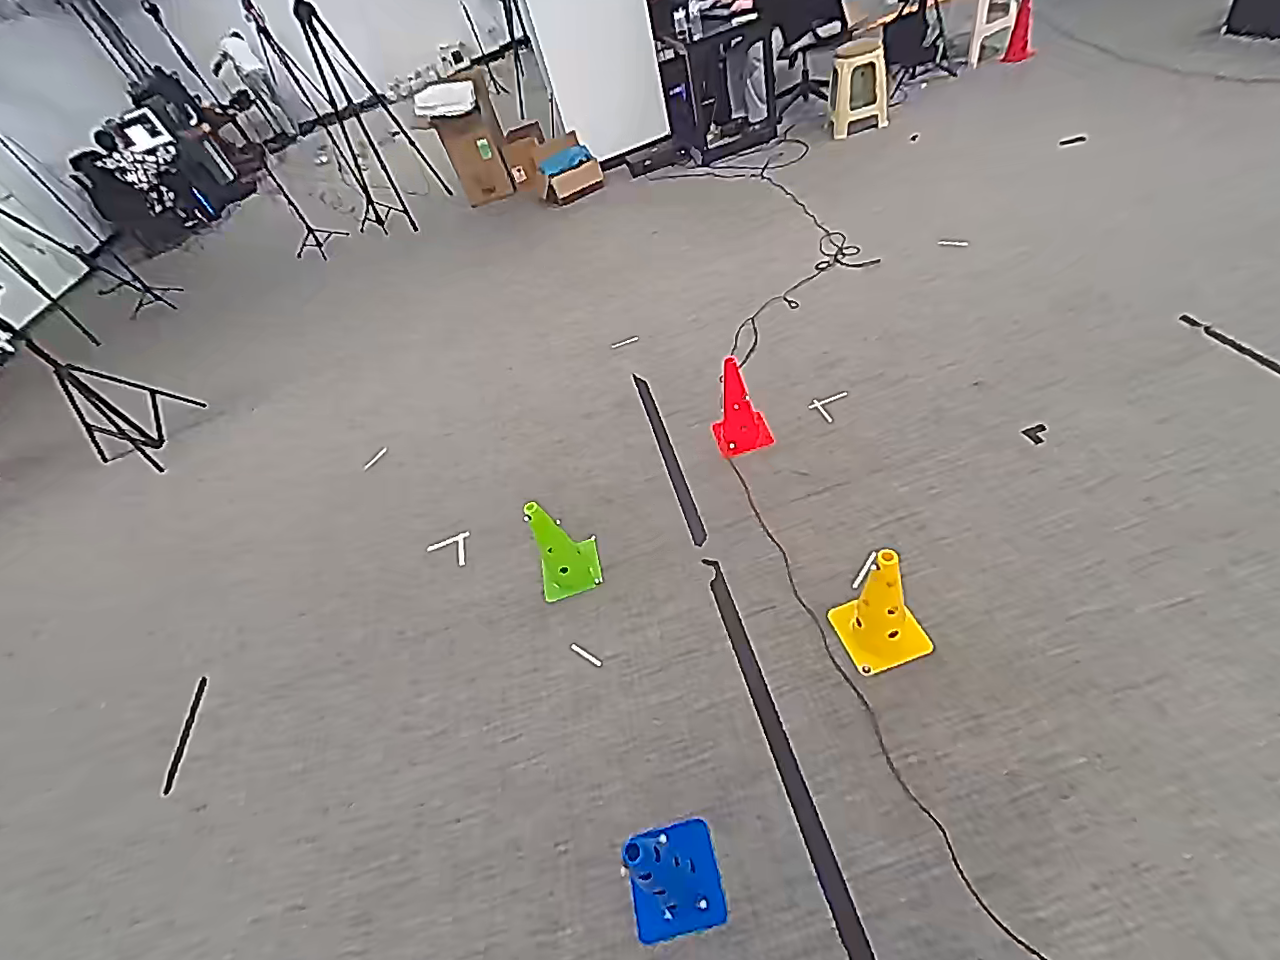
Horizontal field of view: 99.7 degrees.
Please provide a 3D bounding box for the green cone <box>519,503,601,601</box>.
[{"bbox_3d":[-0.284,0.192,1.715,0.202,0.368,0.200,-20,45,3],"label":"green cone"}]

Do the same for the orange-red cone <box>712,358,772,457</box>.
[{"bbox_3d":[0.342,-0.284,1.931,0.199,0.360,0.198,-15,47,4],"label":"orange-red cone"}]

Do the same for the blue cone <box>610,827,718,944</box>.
[{"bbox_3d":[0.024,0.783,1.082,0.192,0.380,0.193,-18,45,5],"label":"blue cone"}]
